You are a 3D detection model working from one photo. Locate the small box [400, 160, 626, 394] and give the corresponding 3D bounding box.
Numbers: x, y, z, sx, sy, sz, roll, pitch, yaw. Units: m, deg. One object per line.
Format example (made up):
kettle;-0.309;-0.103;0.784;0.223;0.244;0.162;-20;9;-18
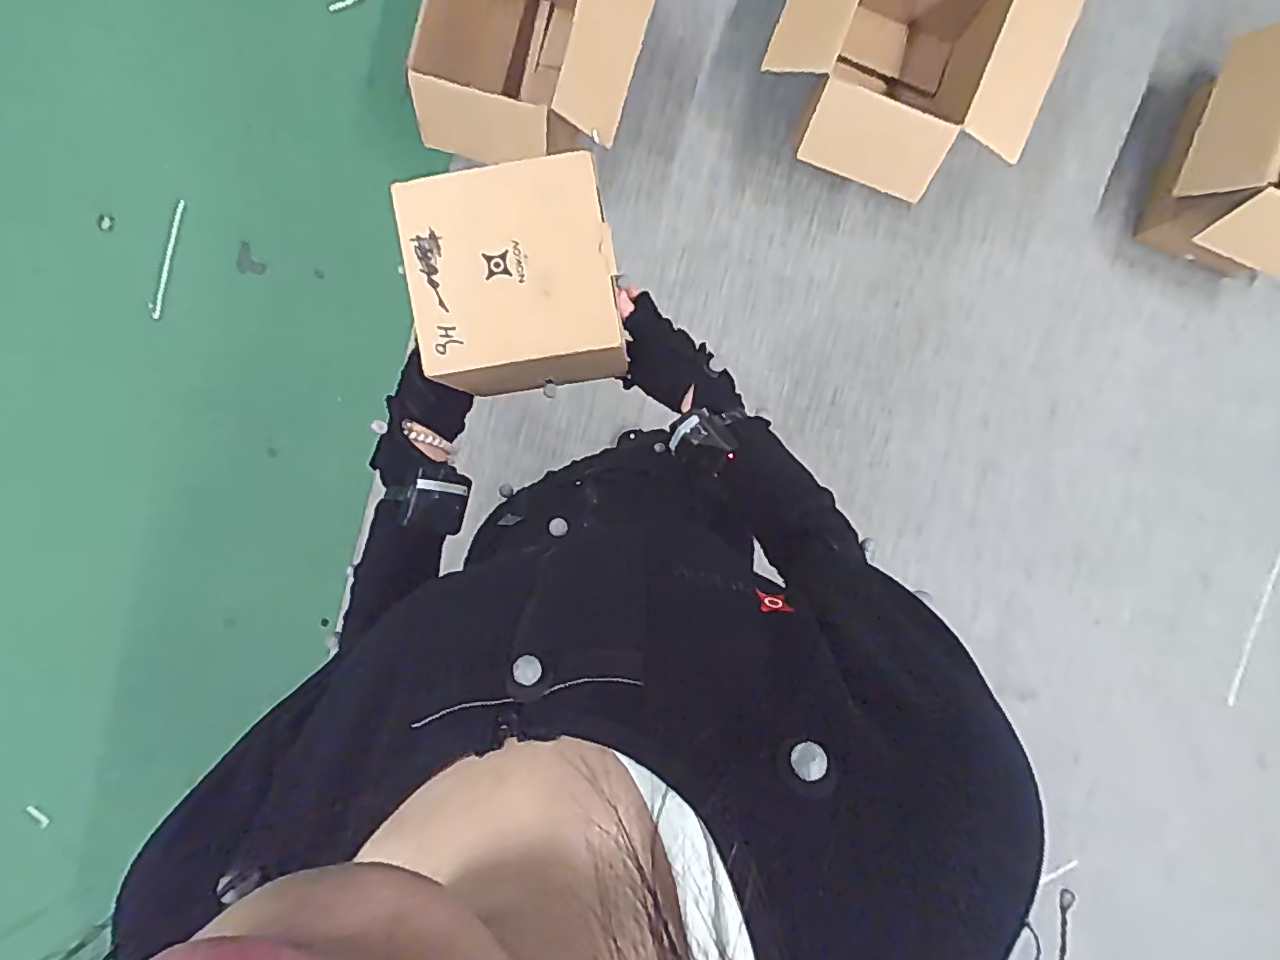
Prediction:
small box;-0.111;-0.187;0.544;0.179;0.176;0.168;-8;92;-1
